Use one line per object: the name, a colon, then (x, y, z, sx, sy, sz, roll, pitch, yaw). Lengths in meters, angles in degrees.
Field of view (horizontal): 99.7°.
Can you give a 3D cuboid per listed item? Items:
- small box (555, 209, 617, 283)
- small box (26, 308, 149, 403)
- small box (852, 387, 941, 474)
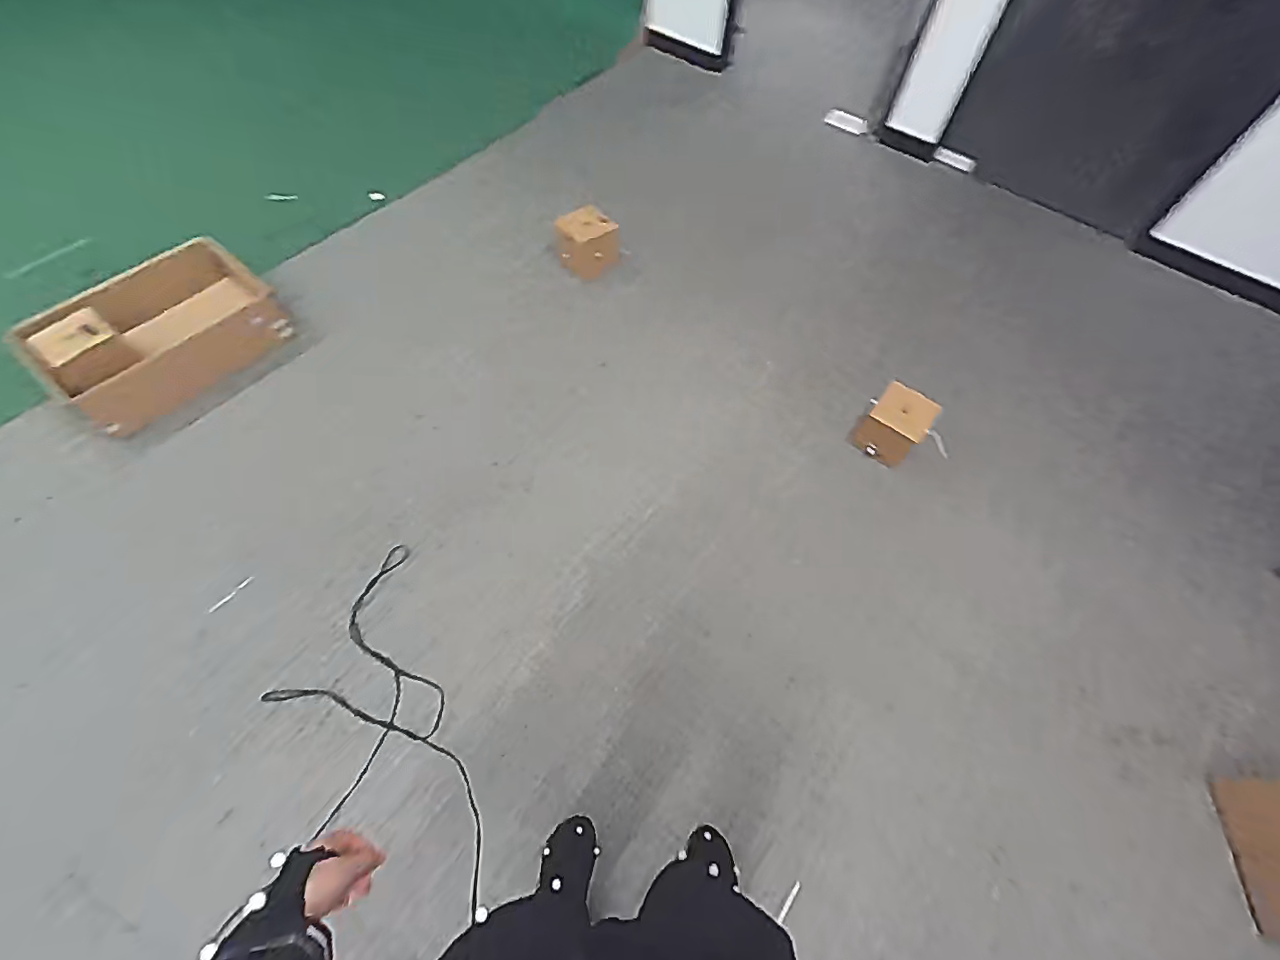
small box: (-0.198, -0.882, 2.052, 0.179, 0.176, 0.168, -35, 68, -20)
small box: (-1.634, -0.369, 1.618, 0.168, 0.176, 0.179, 37, 65, 15)
small box: (0.801, -0.154, 1.707, 0.168, 0.176, 0.179, 35, 66, 17)
